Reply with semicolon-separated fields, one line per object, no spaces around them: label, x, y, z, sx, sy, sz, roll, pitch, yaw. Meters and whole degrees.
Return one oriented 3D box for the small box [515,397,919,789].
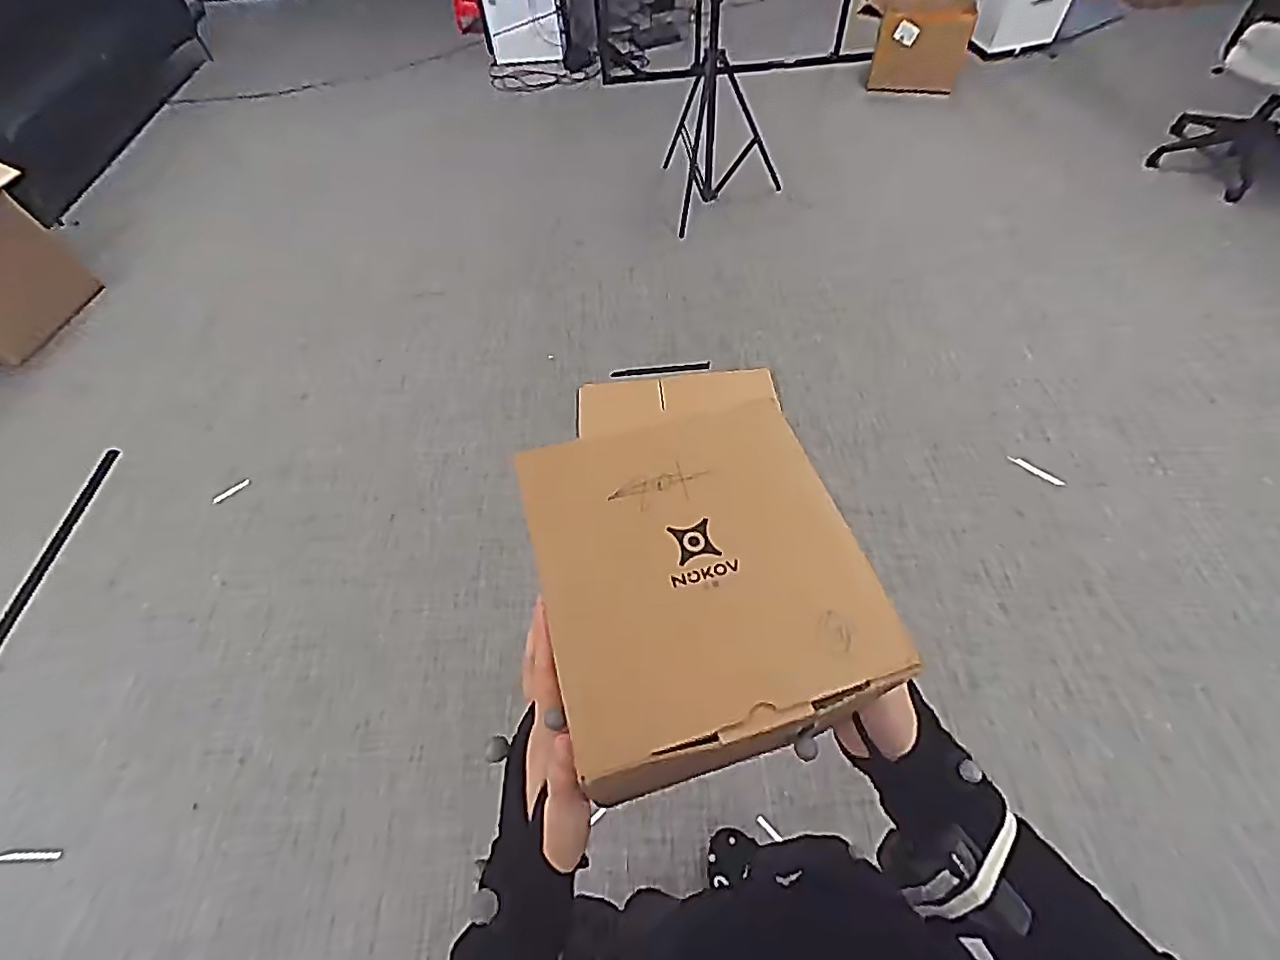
small box;0.028;0.080;0.346;0.168;0.176;0.179;-13;56;-11
